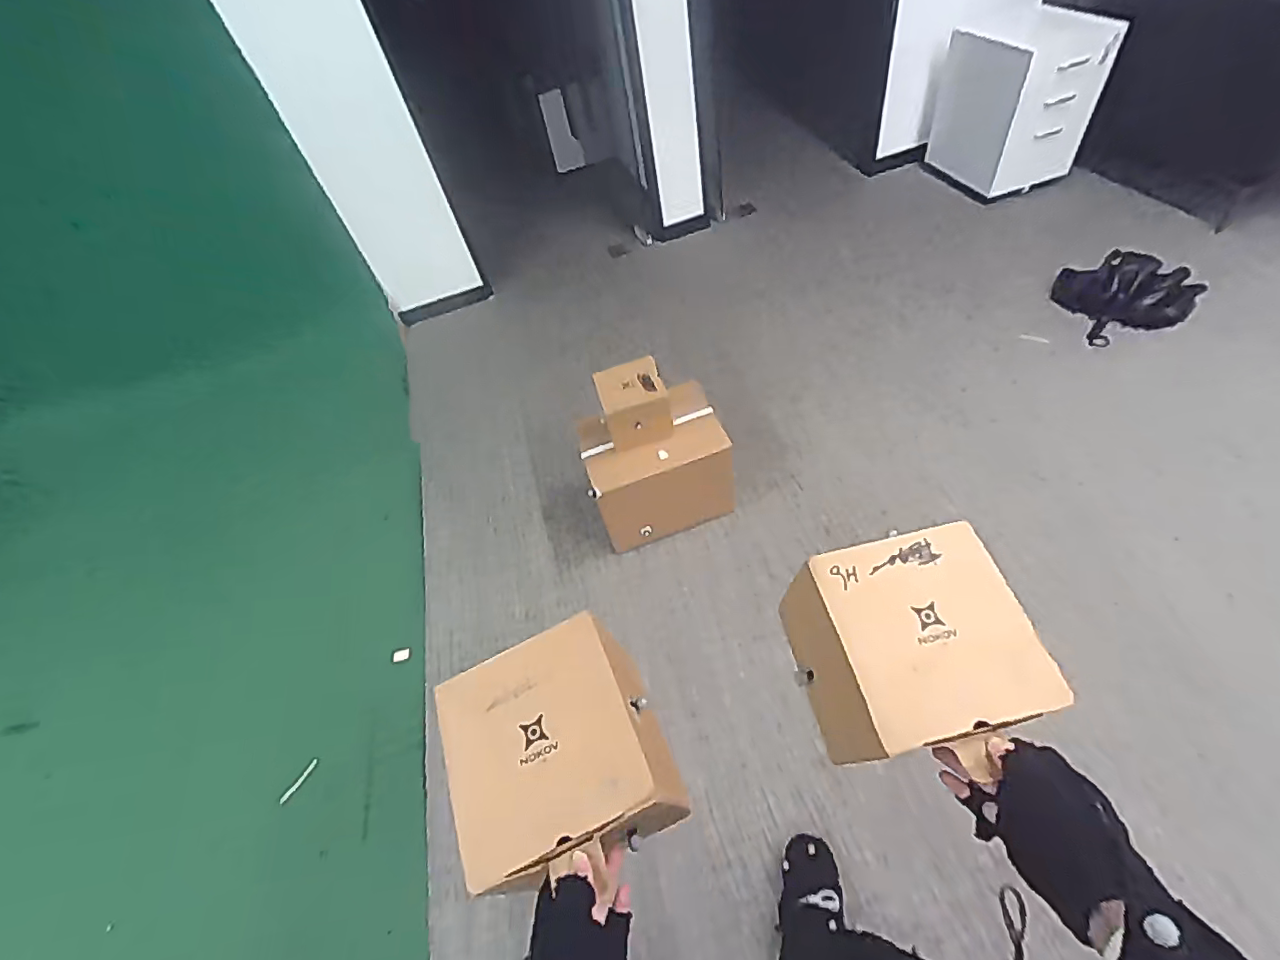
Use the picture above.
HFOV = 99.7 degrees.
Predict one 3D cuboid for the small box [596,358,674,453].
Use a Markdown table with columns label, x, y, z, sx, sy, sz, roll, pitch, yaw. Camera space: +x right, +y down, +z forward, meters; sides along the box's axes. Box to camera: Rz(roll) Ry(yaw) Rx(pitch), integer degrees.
| label | x | y | z | sx | sy | sz | roll | pitch | yaw |
| --- | --- | --- | --- | --- | --- | --- | --- | --- | --- |
| small box | -0.008 | -0.205 | 1.516 | 0.179 | 0.176 | 0.168 | -20 | 56 | -4 |

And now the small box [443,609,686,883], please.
| label | x | y | z | sx | sy | sz | roll | pitch | yaw |
| --- | --- | --- | --- | --- | --- | --- | --- | --- | --- |
| small box | -0.069 | 0.267 | 0.545 | 0.168 | 0.176 | 0.179 | -27 | 52 | -3 |
